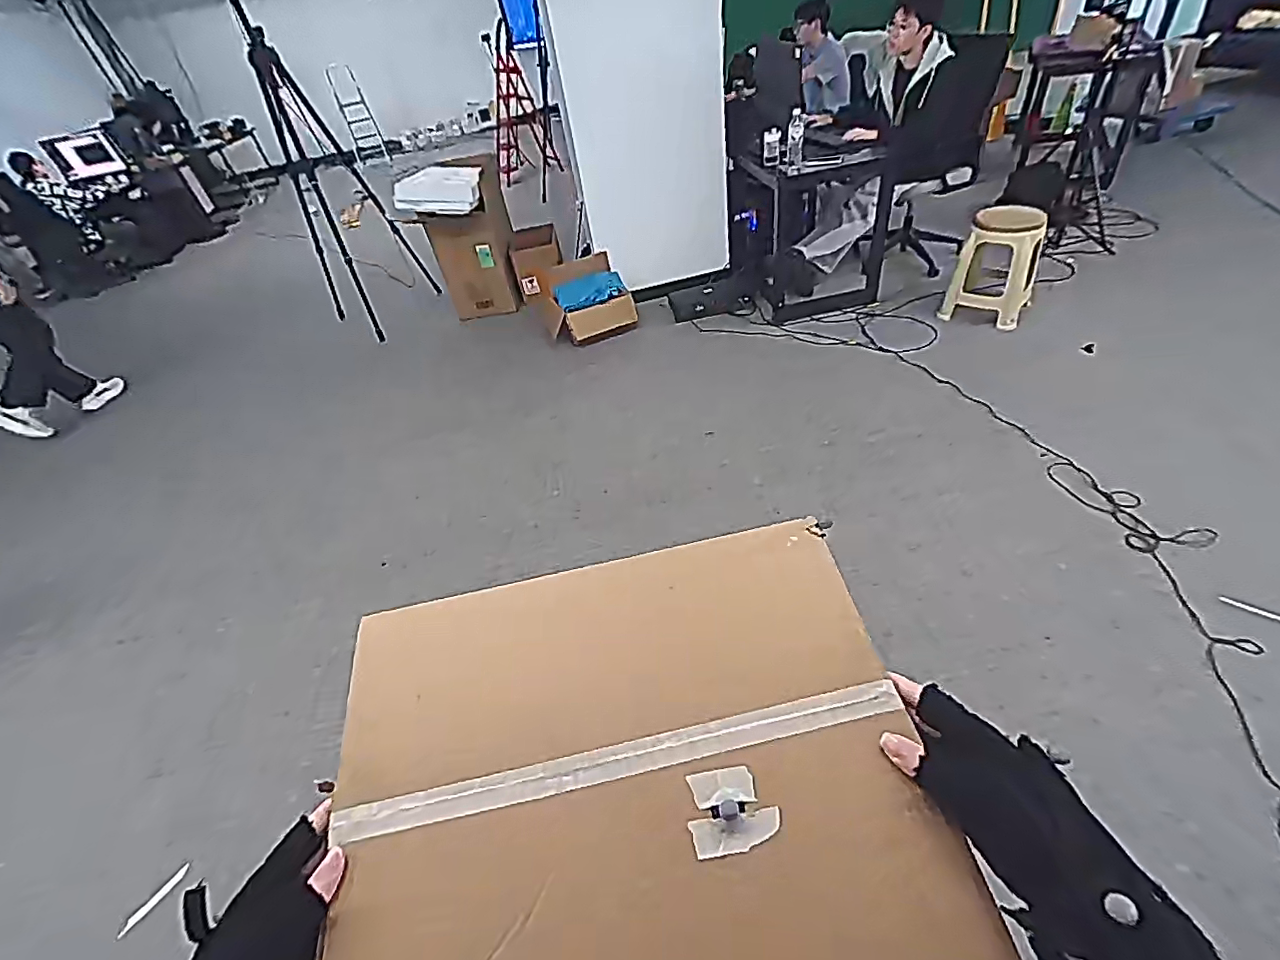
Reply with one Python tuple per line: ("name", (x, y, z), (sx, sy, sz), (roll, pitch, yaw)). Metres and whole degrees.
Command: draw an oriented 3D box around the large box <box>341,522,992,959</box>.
("large box", (0.002, 0.287, 0.516), (0.408, 0.320, 0.320), (-12, 54, -2))
